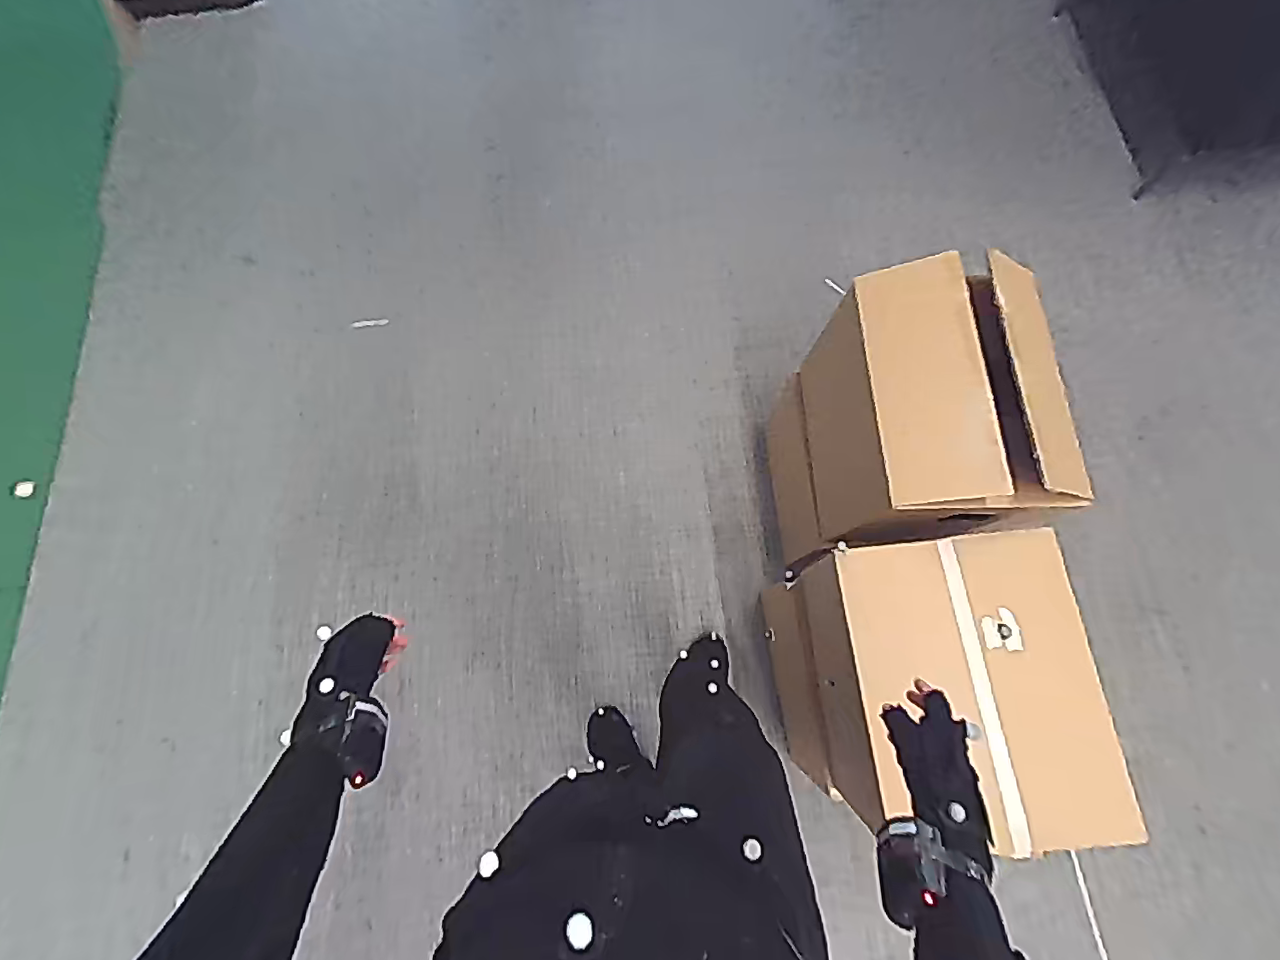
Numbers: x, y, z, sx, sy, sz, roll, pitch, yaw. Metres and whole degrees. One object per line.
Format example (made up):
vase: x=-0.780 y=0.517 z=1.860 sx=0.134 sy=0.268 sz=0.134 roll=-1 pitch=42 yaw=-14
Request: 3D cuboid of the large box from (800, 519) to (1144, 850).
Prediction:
large box: x=0.469 y=0.307 z=0.875 sx=0.320 sy=0.320 sz=0.408 roll=-7 pitch=73 yaw=5
